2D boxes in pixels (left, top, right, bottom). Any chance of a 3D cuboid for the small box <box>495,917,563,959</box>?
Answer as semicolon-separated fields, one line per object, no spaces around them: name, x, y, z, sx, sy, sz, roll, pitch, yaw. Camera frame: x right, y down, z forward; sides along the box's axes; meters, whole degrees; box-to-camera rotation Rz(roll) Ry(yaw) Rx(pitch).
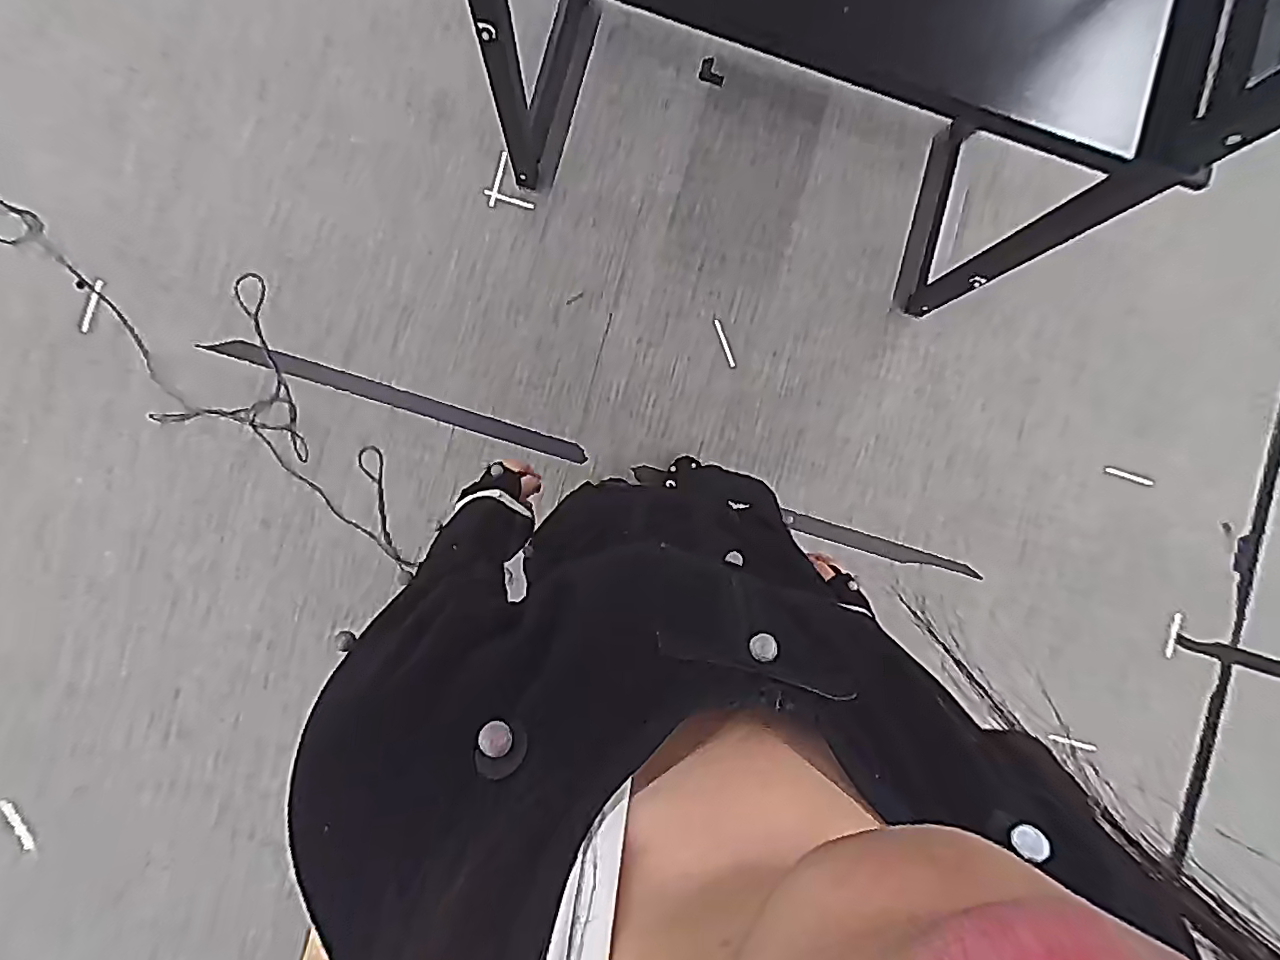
small box;-0.288;1.251;1.362;0.168;0.176;0.179;7;89;-5
